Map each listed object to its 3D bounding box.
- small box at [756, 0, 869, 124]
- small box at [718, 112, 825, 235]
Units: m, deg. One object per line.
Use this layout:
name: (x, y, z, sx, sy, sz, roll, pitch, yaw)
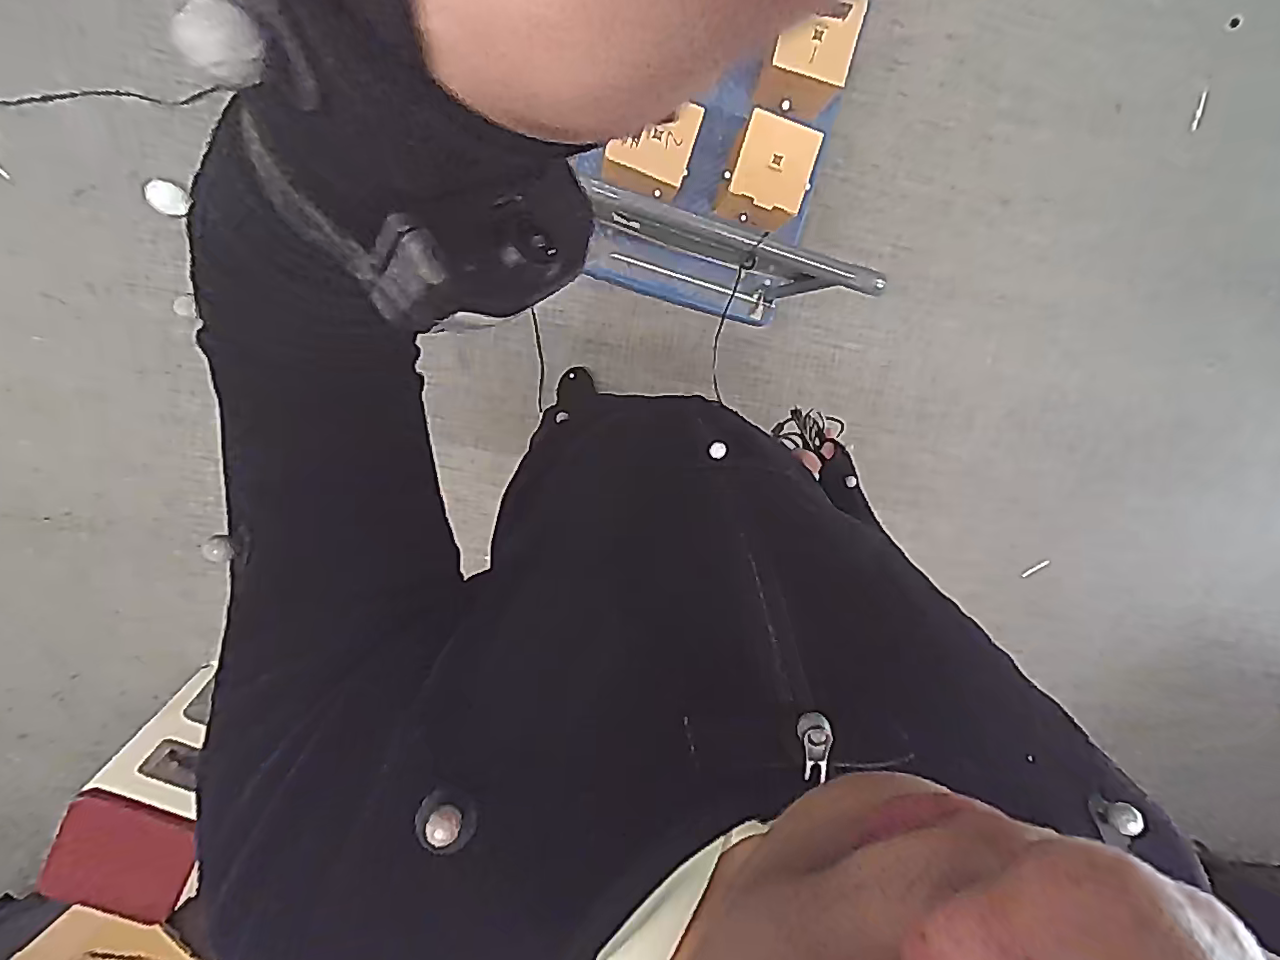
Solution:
small box: (0.374, -0.945, 1.208, 0.168, 0.176, 0.179, 13, 101, -6)
small box: (0.294, -0.699, 1.254, 0.168, 0.176, 0.179, 16, 100, -7)
